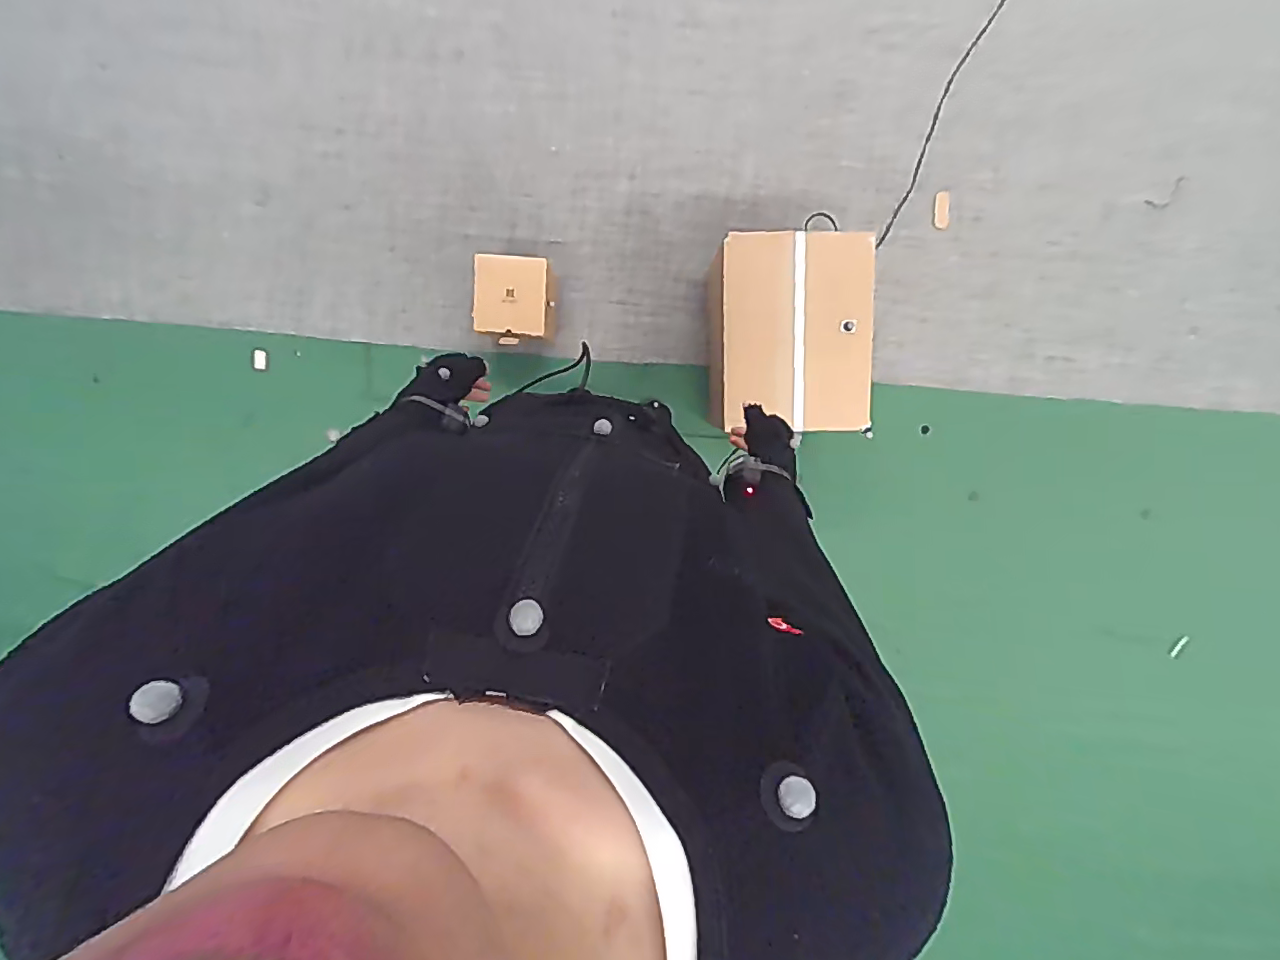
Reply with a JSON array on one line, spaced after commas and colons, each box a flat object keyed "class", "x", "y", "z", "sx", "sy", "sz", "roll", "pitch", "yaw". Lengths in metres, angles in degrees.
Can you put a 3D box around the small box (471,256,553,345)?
[{"class": "small box", "x": -0.309, "y": -0.434, "z": 1.328, "sx": 0.168, "sy": 0.176, "sz": 0.179, "roll": 3, "pitch": 100, "yaw": -2}]
